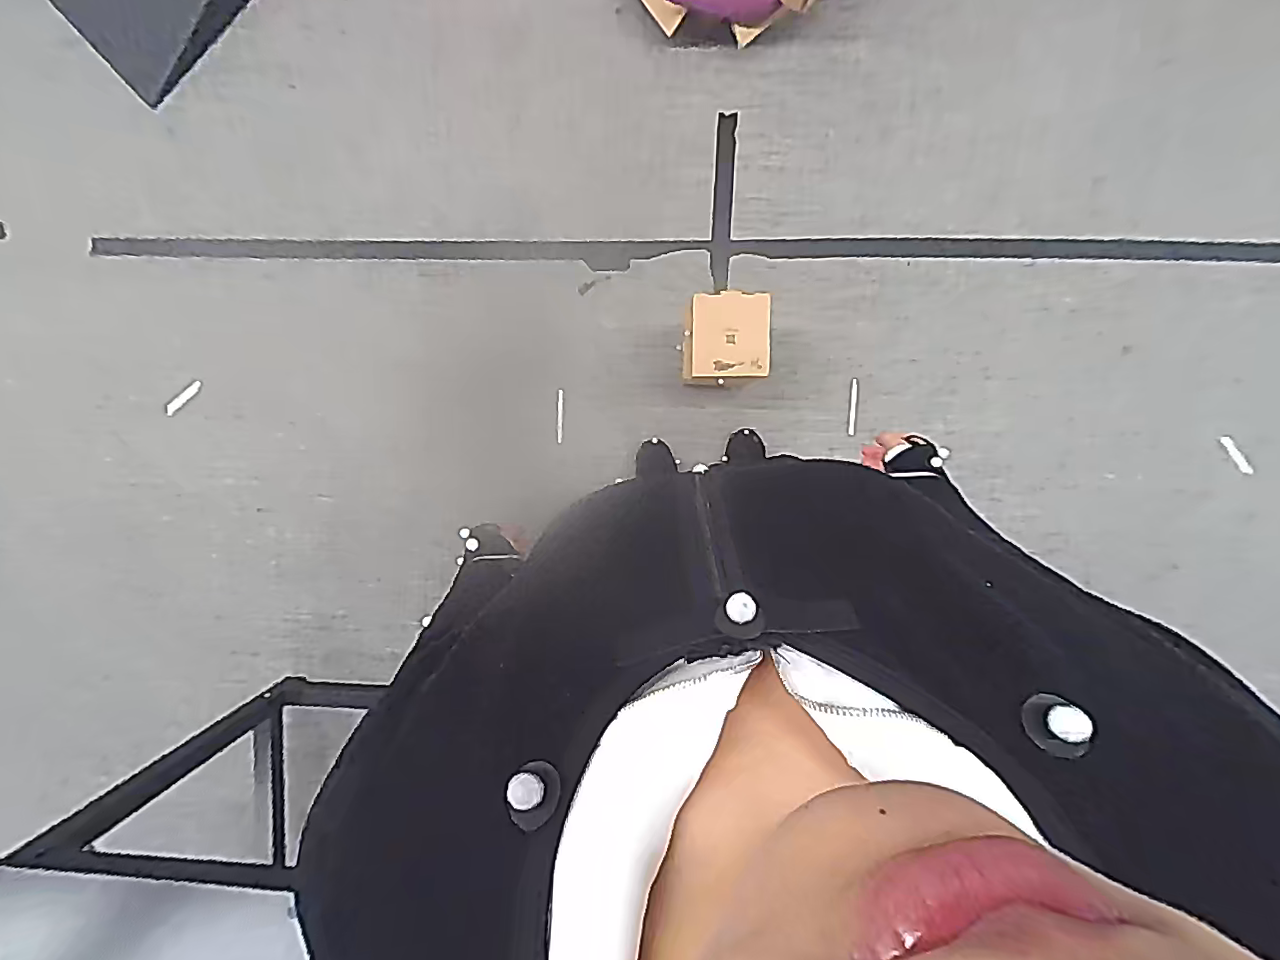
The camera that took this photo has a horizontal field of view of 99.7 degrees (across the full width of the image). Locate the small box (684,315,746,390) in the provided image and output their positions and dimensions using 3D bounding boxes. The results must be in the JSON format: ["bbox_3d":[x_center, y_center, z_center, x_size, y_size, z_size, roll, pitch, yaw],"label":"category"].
[{"bbox_3d":[0.206,-0.324,1.390,0.179,0.176,0.168,2,94,3],"label":"small box"}]

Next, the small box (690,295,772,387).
[{"bbox_3d":[0.200,-0.309,1.226,0.168,0.176,0.179,0,93,2],"label":"small box"}]
